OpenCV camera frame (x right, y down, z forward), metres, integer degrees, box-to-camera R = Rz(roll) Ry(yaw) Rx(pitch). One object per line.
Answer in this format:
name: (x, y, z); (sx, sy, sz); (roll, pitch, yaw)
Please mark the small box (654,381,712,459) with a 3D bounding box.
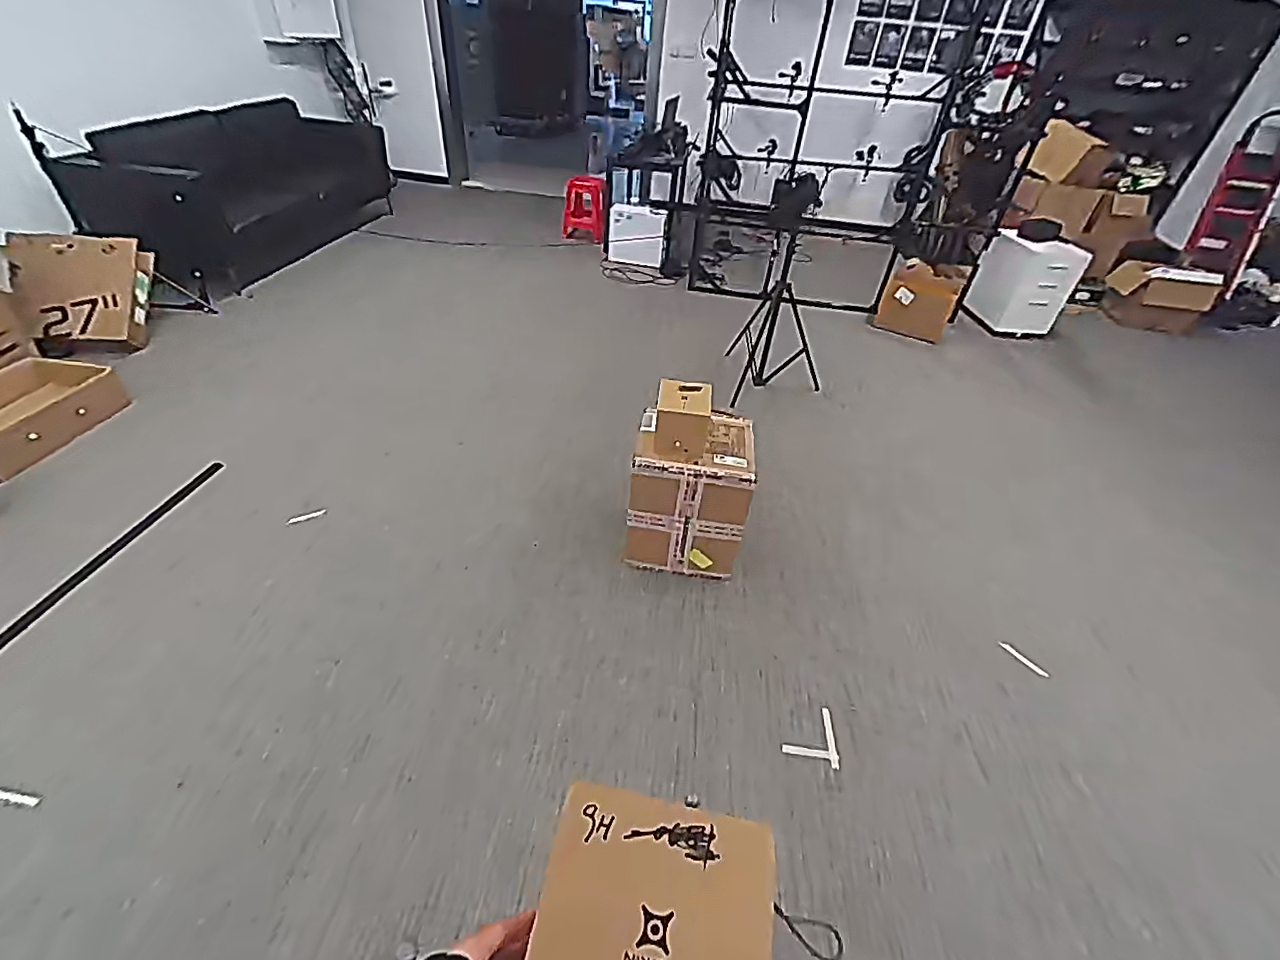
small box: (0.136, -0.191, 1.730); (0.168, 0.176, 0.179); (6, 43, 3)
